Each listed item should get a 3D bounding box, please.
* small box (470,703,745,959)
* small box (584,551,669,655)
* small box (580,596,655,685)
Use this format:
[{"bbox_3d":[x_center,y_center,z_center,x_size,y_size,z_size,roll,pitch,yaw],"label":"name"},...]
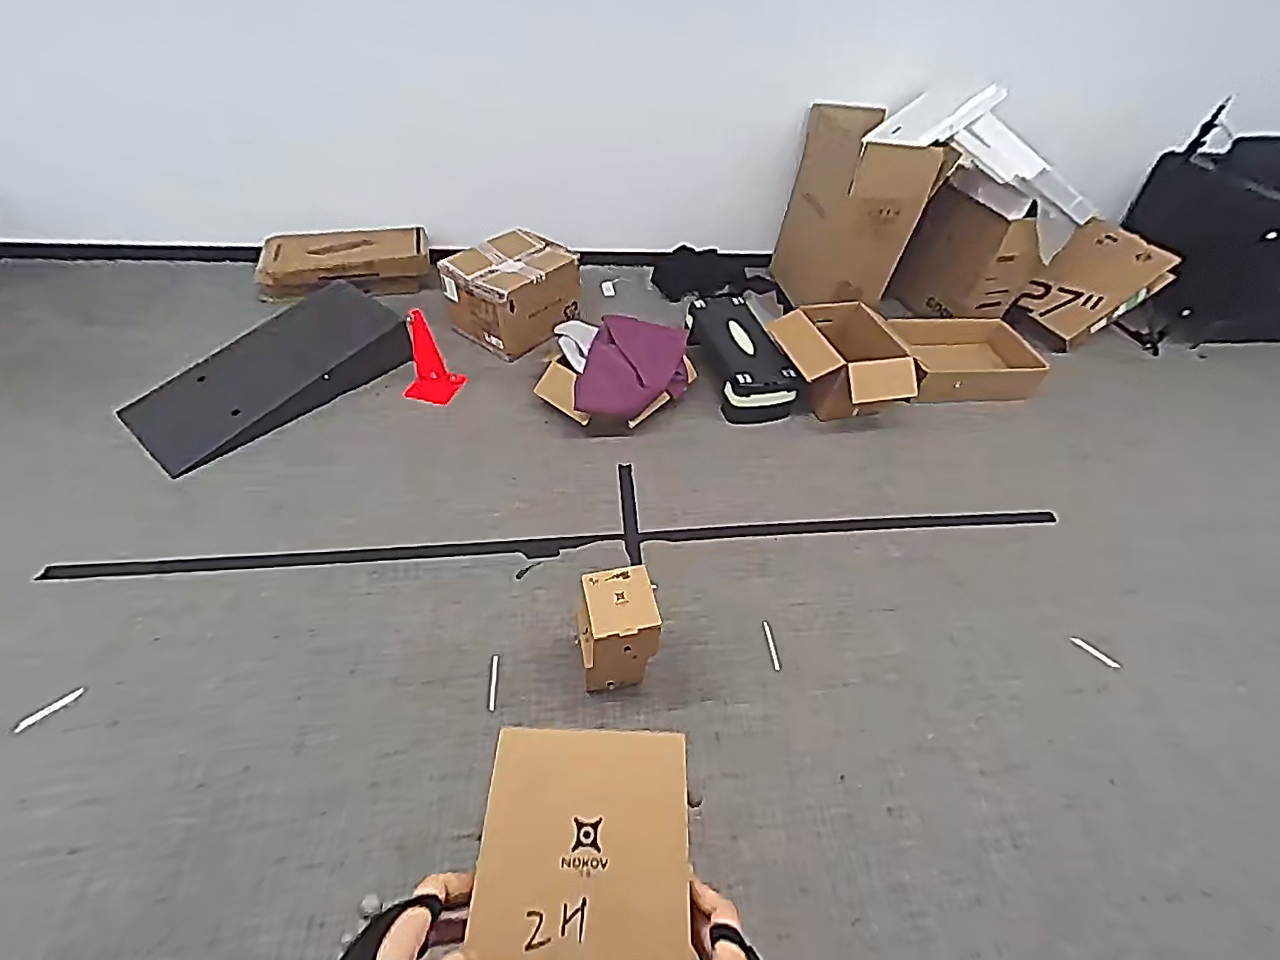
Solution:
[{"bbox_3d":[-0.020,0.288,0.415,0.168,0.176,0.179,2,52,0],"label":"small box"},{"bbox_3d":[-0.036,0.298,1.283,0.168,0.176,0.179,-8,50,-12],"label":"small box"},{"bbox_3d":[-0.066,0.407,1.404,0.168,0.176,0.179,-8,51,-11],"label":"small box"}]
